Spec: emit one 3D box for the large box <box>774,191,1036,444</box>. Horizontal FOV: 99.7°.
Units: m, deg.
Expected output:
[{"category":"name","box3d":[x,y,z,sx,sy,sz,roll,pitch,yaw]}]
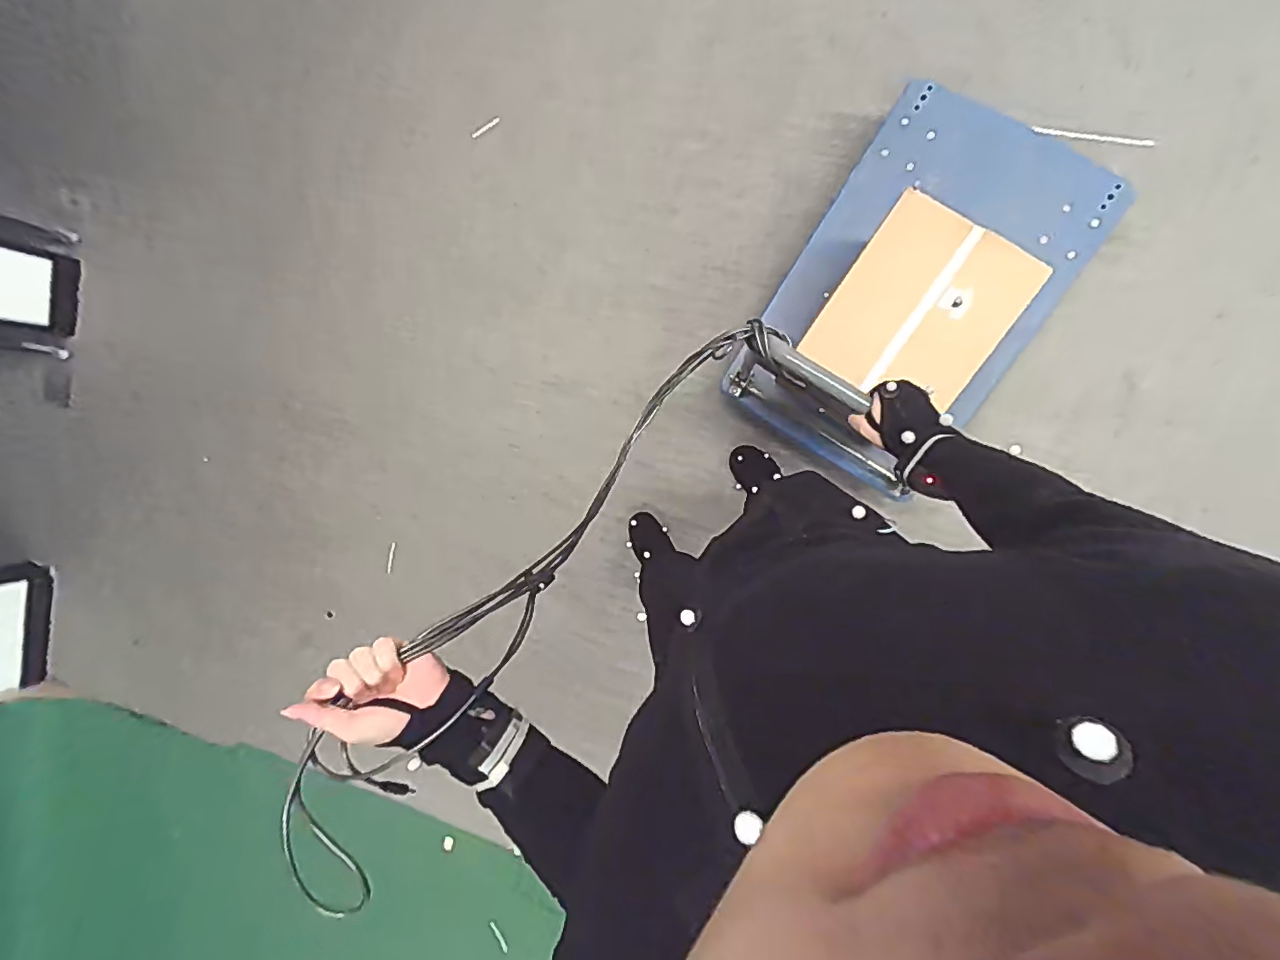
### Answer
[{"category":"large box","box3d":[0.547,-0.327,1.213,0.320,0.320,0.408,34,99,5]}]
